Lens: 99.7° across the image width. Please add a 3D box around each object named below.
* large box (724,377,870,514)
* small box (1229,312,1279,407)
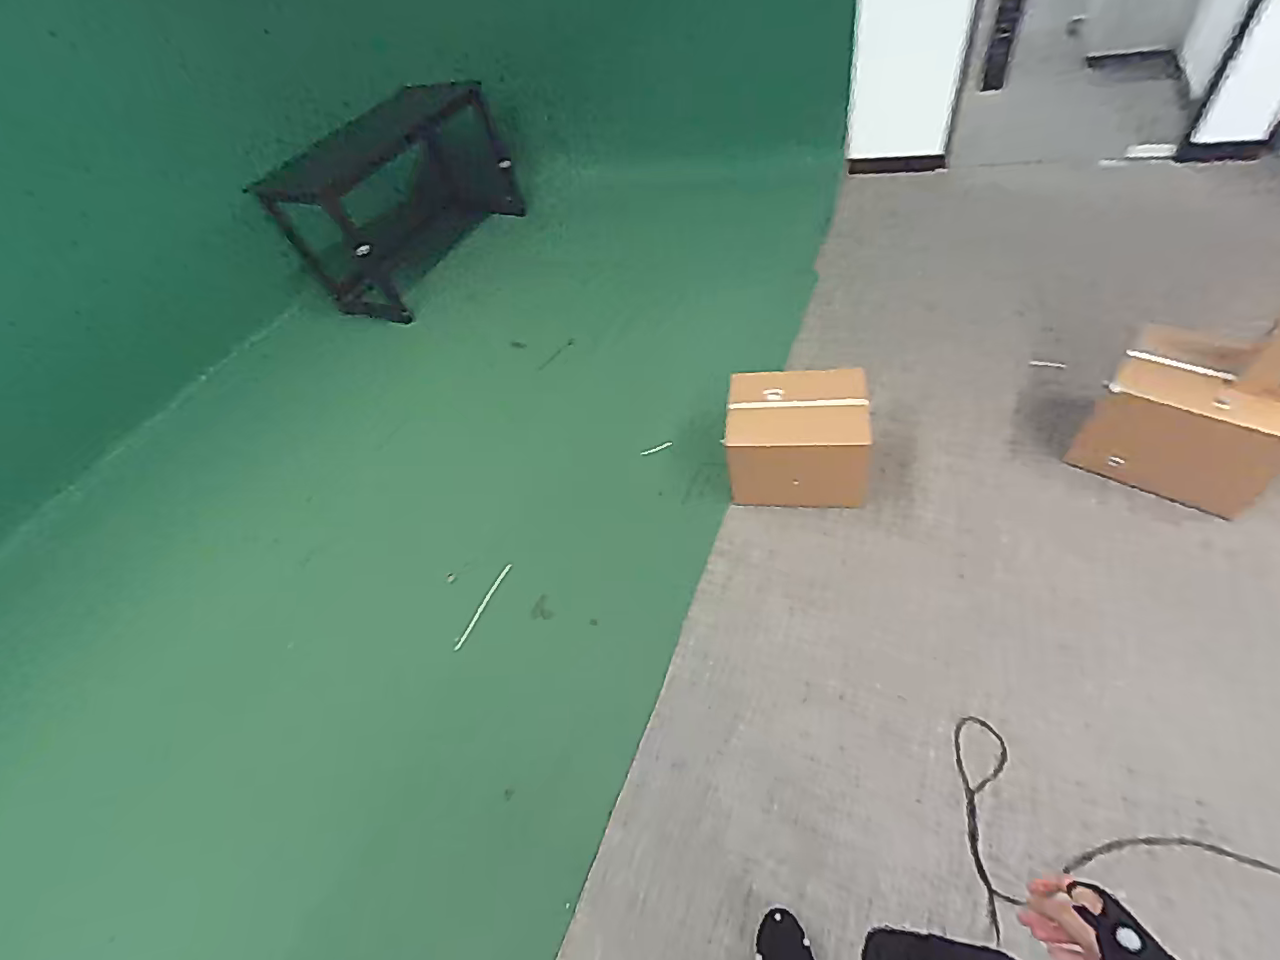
[{"bbox_3d":[0.495,-0.101,1.728,0.408,0.320,0.320,-1,51,16],"label":"large box"},{"bbox_3d":[1.551,-0.286,1.267,0.168,0.176,0.179,30,64,33],"label":"small box"}]
